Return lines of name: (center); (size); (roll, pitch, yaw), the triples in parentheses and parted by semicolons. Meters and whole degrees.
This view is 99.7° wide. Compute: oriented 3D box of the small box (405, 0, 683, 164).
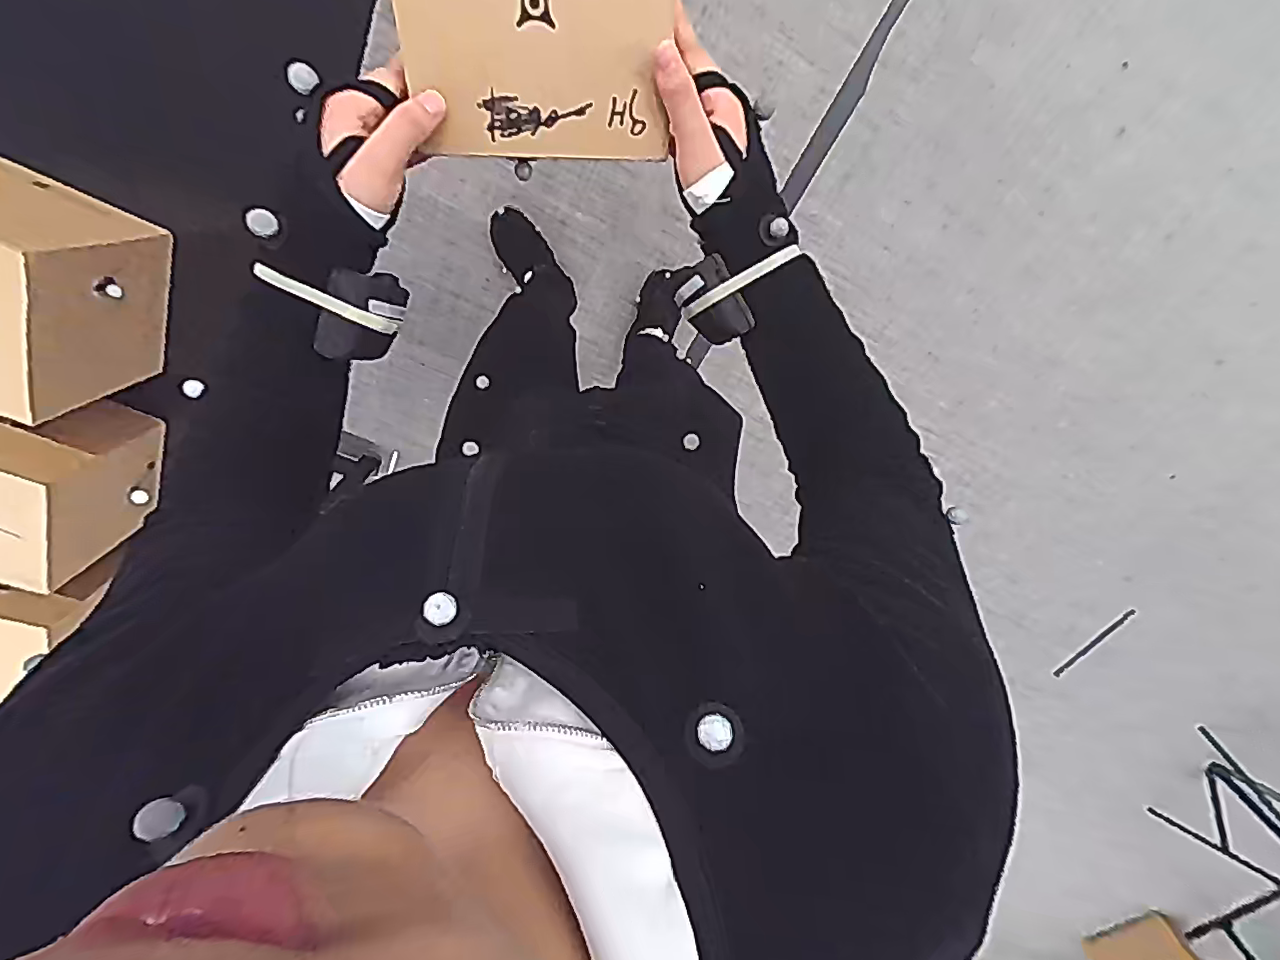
small box: (-0.061, -0.329, 0.383); (0.168, 0.176, 0.179); (0, 122, -3)

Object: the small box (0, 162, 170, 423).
small box: (-0.611, -0.192, 0.531); (0.168, 0.176, 0.179); (23, 117, -13)
